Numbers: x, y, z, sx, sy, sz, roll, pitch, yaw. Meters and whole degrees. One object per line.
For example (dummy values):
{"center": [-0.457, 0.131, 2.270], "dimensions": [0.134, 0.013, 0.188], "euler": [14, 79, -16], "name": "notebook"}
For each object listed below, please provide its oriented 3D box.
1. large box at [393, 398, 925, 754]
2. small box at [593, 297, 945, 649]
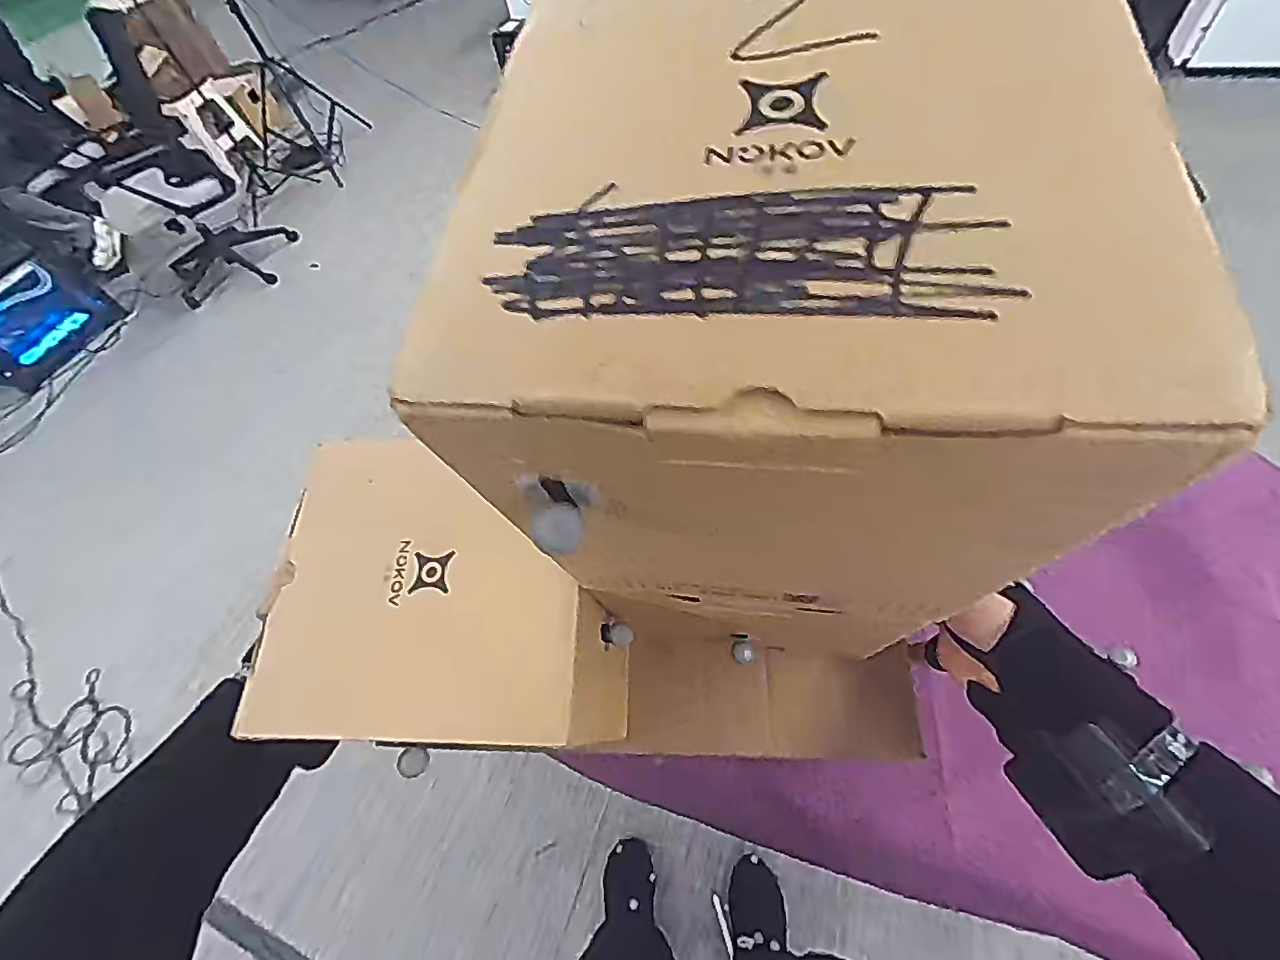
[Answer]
{"center": [0.025, 0.118, 0.590], "dimensions": [0.408, 0.320, 0.320], "euler": [-4, 64, 9], "name": "large box"}
{"center": [0.080, 0.003, 0.358], "dimensions": [0.168, 0.176, 0.179], "euler": [3, 67, 12], "name": "small box"}
